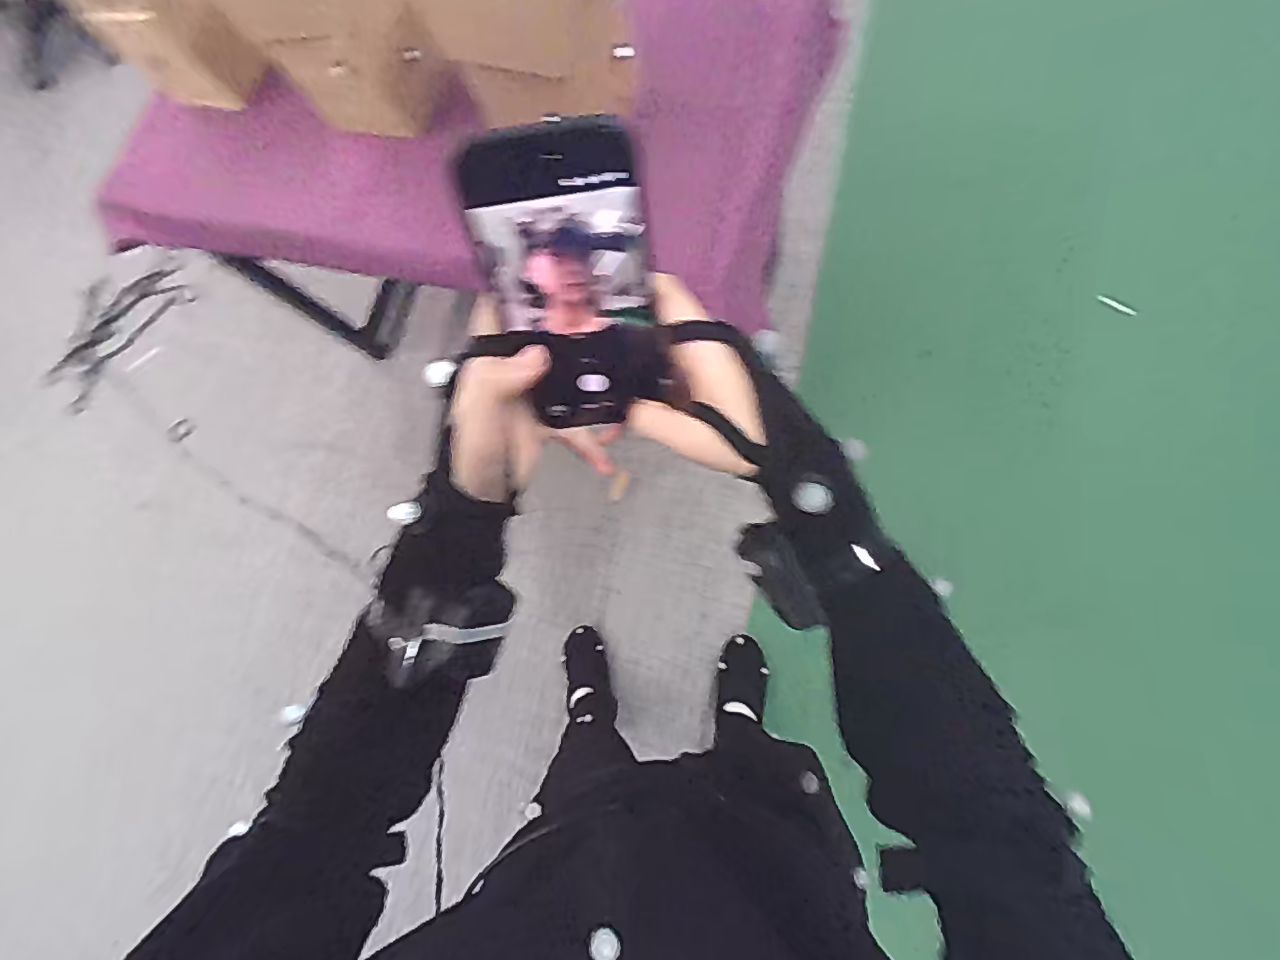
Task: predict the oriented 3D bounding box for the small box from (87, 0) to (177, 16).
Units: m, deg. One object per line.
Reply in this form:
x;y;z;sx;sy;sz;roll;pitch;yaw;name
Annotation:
-0.808;-0.842;0.808;0.168;0.176;0.179;11;80;14;small box

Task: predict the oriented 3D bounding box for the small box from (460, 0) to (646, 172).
-0.109;-0.573;0.764;0.179;0.176;0.168;22;82;17;small box

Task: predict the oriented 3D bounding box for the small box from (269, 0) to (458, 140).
-0.421;-0.675;0.855;0.179;0.176;0.168;16;80;15;small box

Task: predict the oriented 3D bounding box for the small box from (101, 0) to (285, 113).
-0.777;-0.796;0.963;0.168;0.176;0.179;16;80;15;small box
